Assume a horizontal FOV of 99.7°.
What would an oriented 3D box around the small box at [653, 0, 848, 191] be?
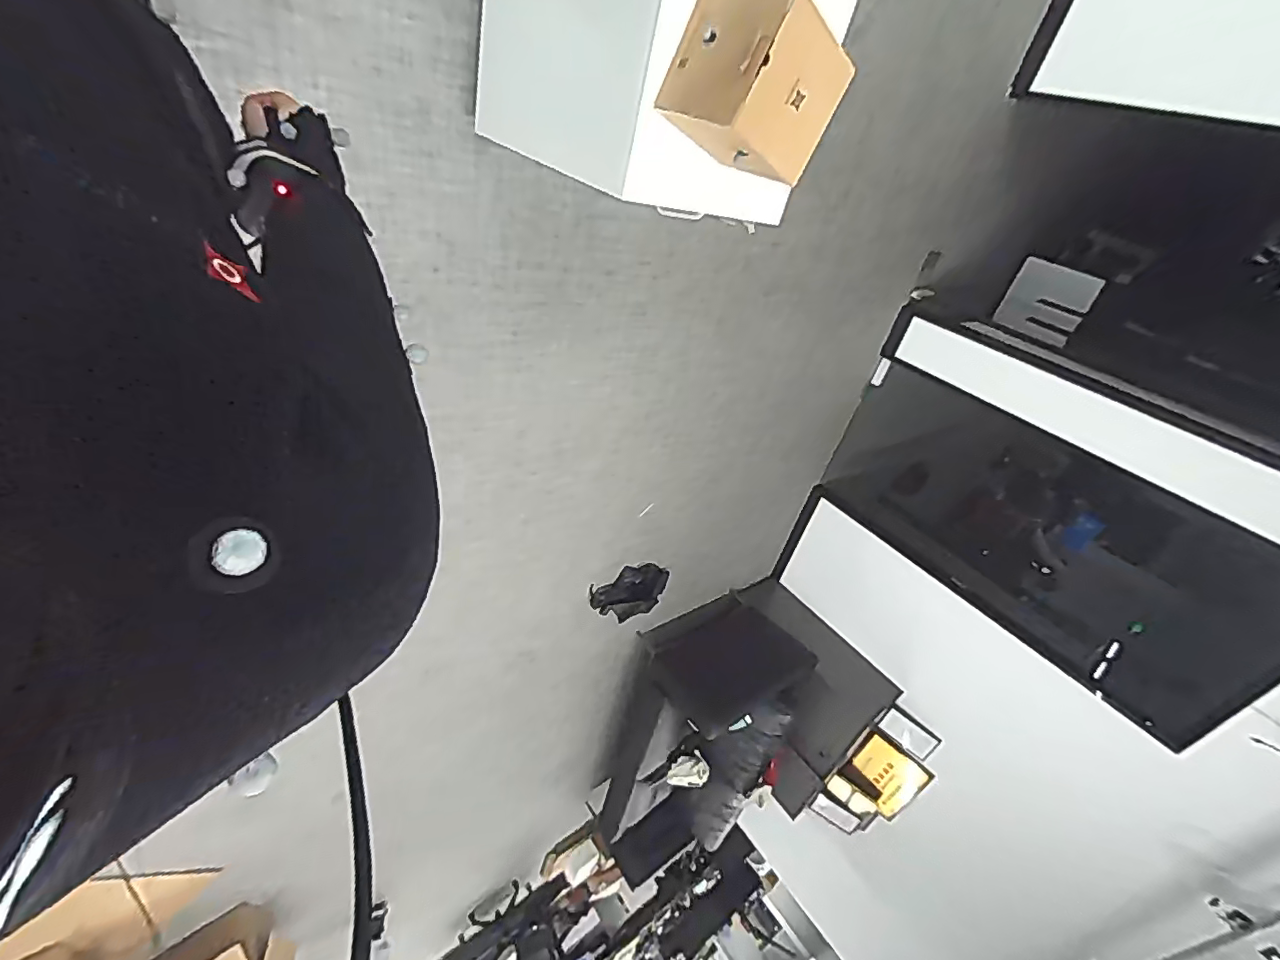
[{"bbox_3d":[0.154,-0.554,0.776,0.179,0.176,0.168,4,122,-48],"label":"small box"}]
